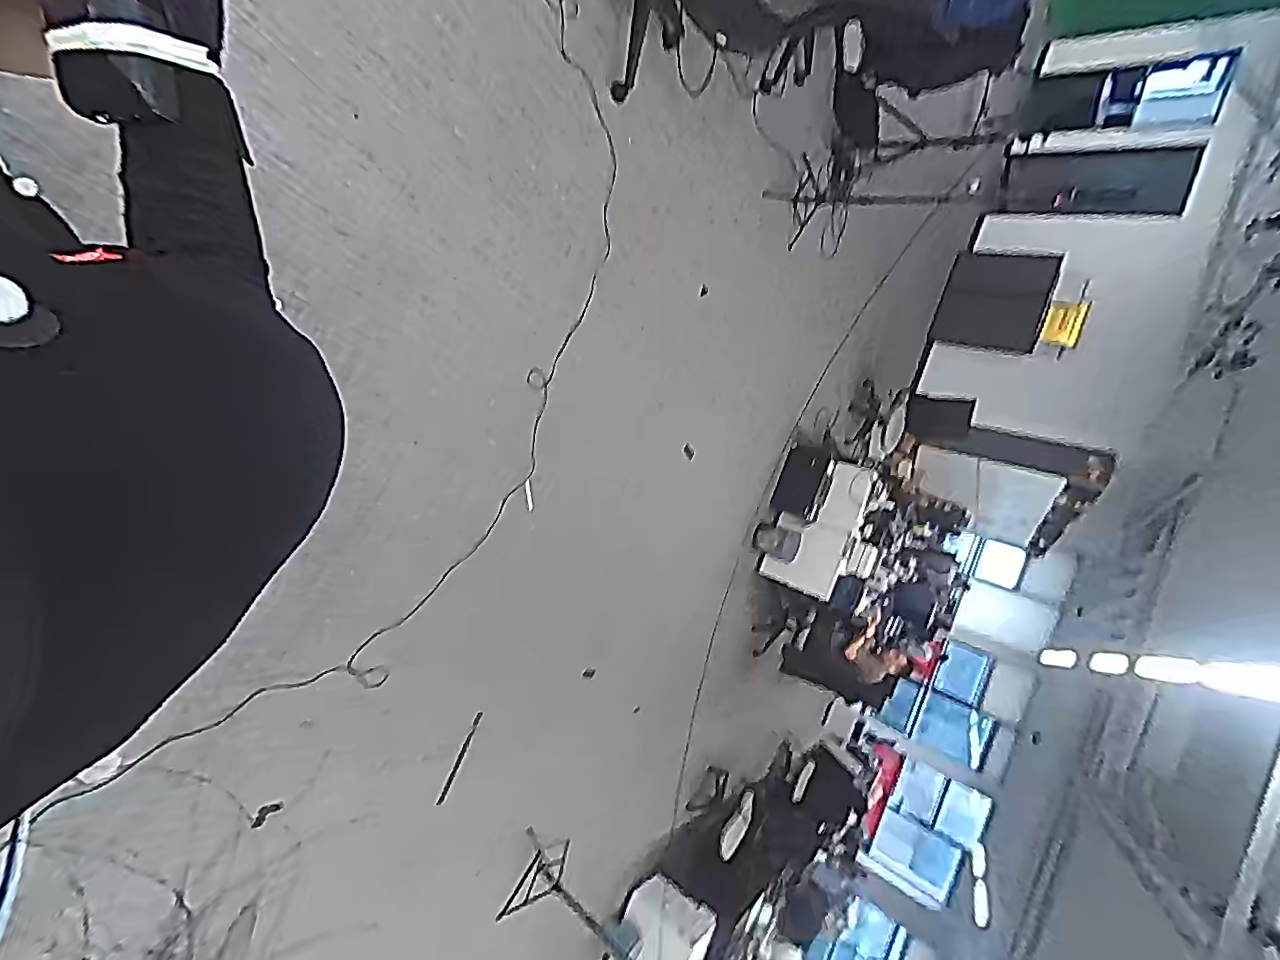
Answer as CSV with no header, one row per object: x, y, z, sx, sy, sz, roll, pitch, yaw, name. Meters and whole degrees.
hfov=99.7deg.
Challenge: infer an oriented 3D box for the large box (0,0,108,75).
-0.568,-0.411,0.222,0.408,0.320,0.320,-25,127,-44,large box
